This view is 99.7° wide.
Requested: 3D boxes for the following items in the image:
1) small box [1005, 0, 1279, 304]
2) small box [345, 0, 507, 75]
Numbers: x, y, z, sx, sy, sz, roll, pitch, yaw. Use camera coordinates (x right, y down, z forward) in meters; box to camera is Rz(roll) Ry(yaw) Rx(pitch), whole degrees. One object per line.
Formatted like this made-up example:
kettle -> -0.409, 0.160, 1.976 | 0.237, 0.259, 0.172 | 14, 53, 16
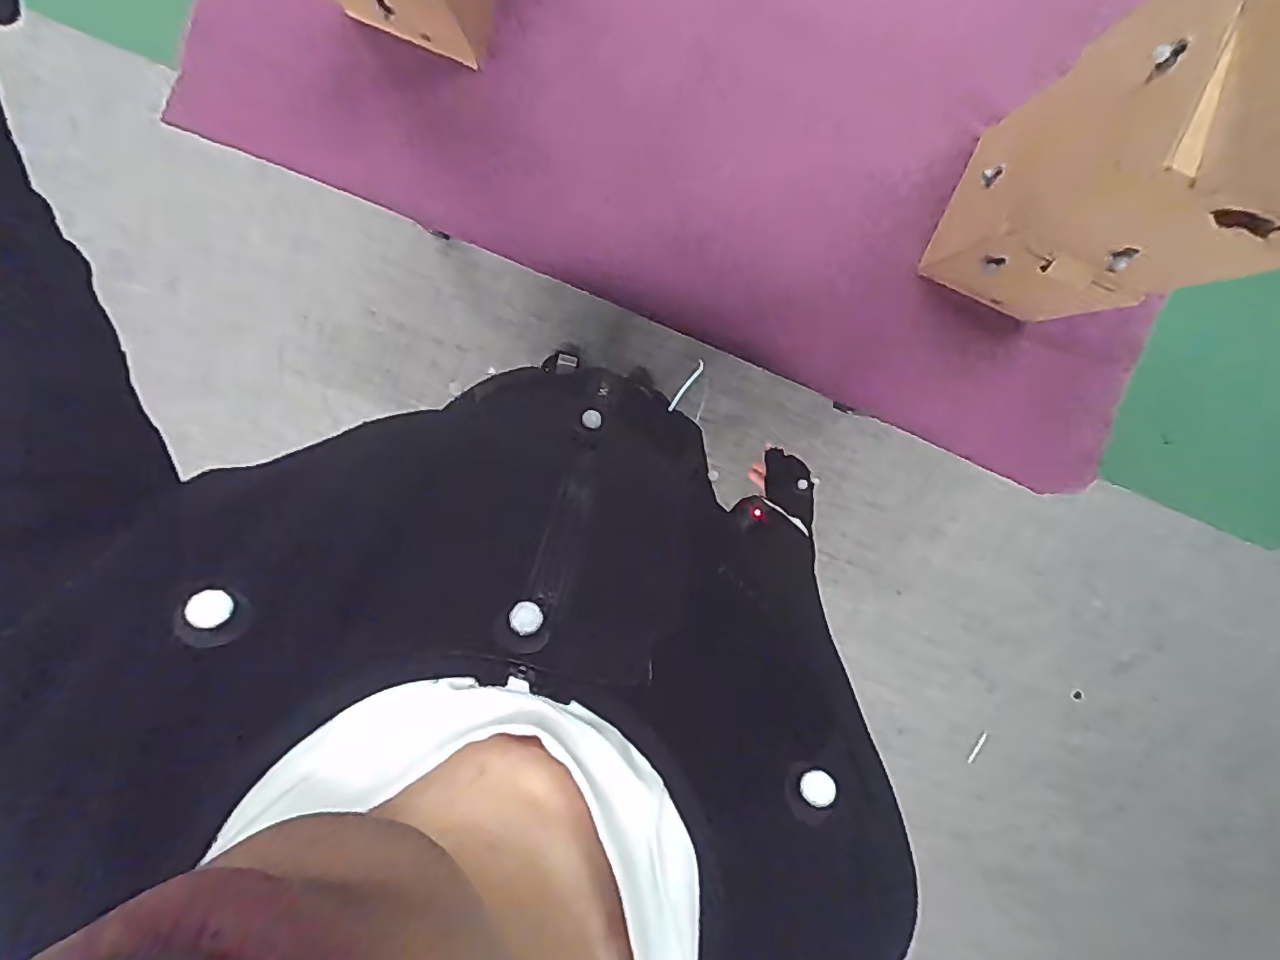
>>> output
small box -> 0.458, -0.268, 0.452 | 0.168, 0.176, 0.179 | 19, 99, -4
small box -> -0.231, -0.576, 0.552 | 0.168, 0.176, 0.179 | 20, 101, -5
